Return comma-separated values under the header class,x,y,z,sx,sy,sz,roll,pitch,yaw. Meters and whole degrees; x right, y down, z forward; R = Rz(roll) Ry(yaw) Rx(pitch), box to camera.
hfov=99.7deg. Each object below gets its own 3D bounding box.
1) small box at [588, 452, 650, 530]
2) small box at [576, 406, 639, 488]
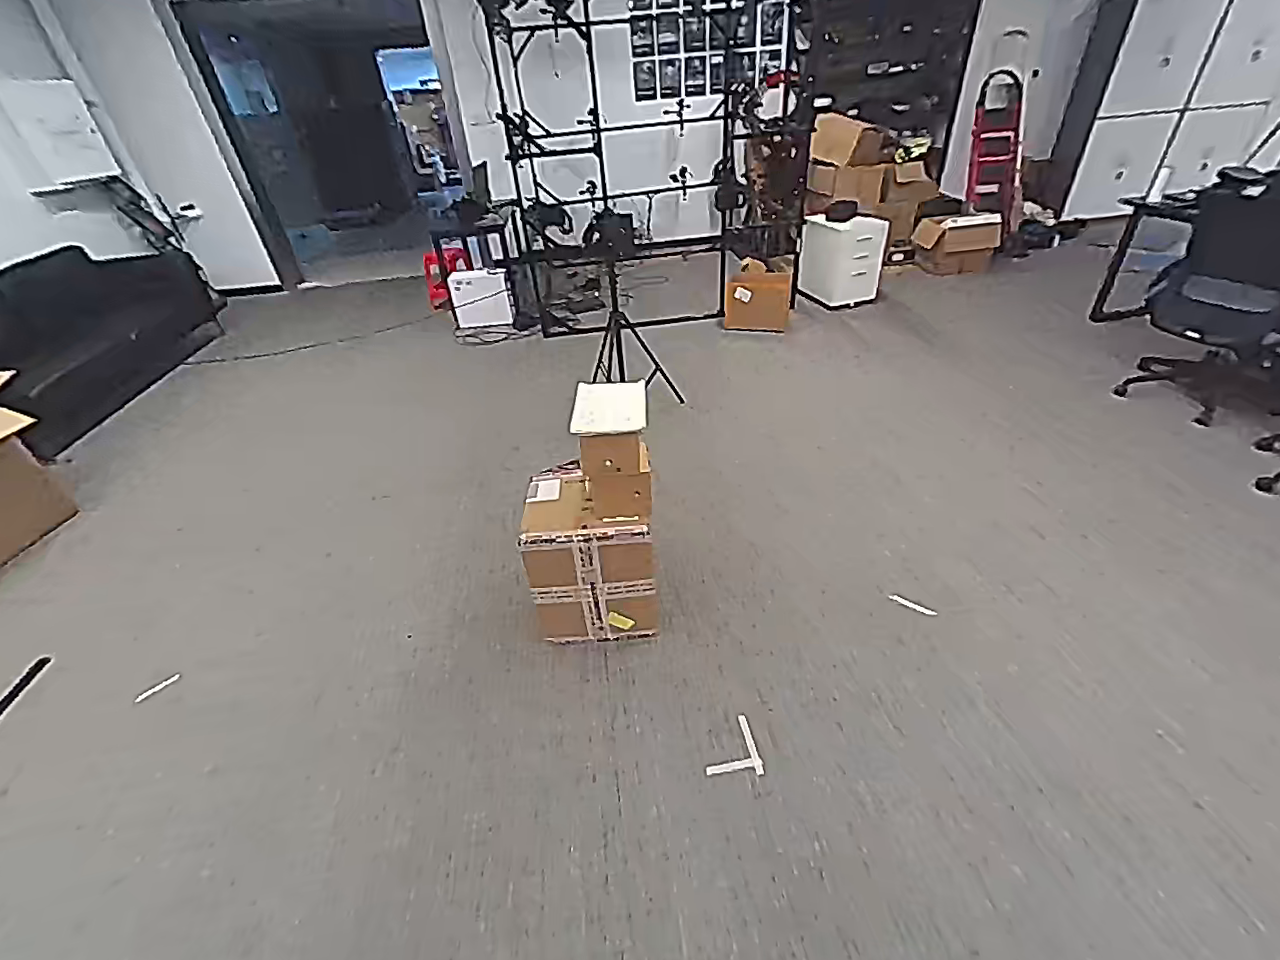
class,x,y,z,sx,sy,sz,roll,pitch,yaw
small box,-0.063,0.034,1.637,0.179,0.176,0.168,-4,37,-2
small box,-0.088,-0.095,1.536,0.168,0.176,0.179,-1,38,1
